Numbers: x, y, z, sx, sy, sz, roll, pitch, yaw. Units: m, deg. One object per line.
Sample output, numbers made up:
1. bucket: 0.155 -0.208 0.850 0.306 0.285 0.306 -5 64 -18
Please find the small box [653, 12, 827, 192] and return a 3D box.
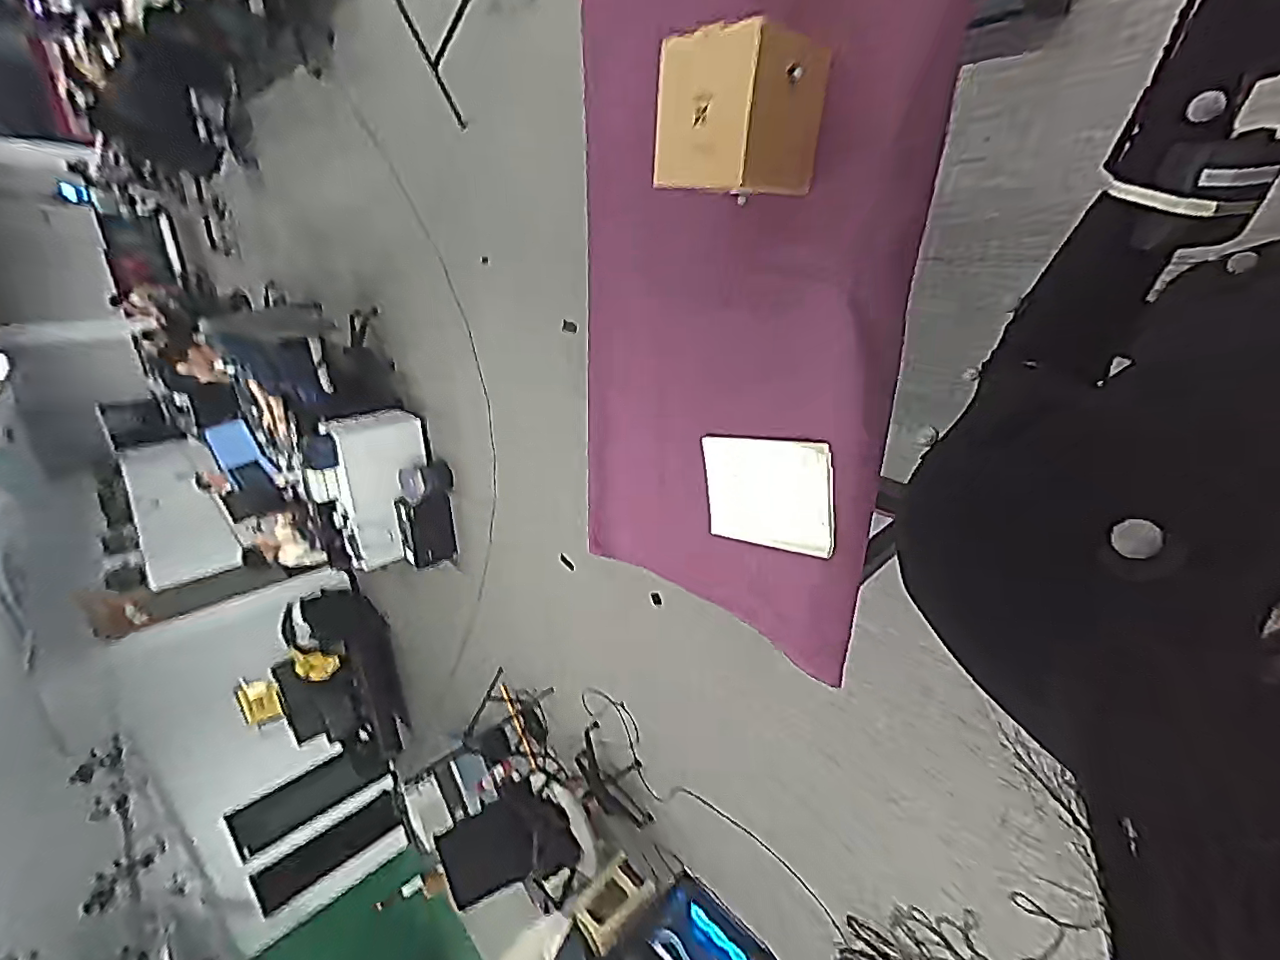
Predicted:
1. small box: 0.138 -0.507 0.755 0.168 0.176 0.179 28 126 41
